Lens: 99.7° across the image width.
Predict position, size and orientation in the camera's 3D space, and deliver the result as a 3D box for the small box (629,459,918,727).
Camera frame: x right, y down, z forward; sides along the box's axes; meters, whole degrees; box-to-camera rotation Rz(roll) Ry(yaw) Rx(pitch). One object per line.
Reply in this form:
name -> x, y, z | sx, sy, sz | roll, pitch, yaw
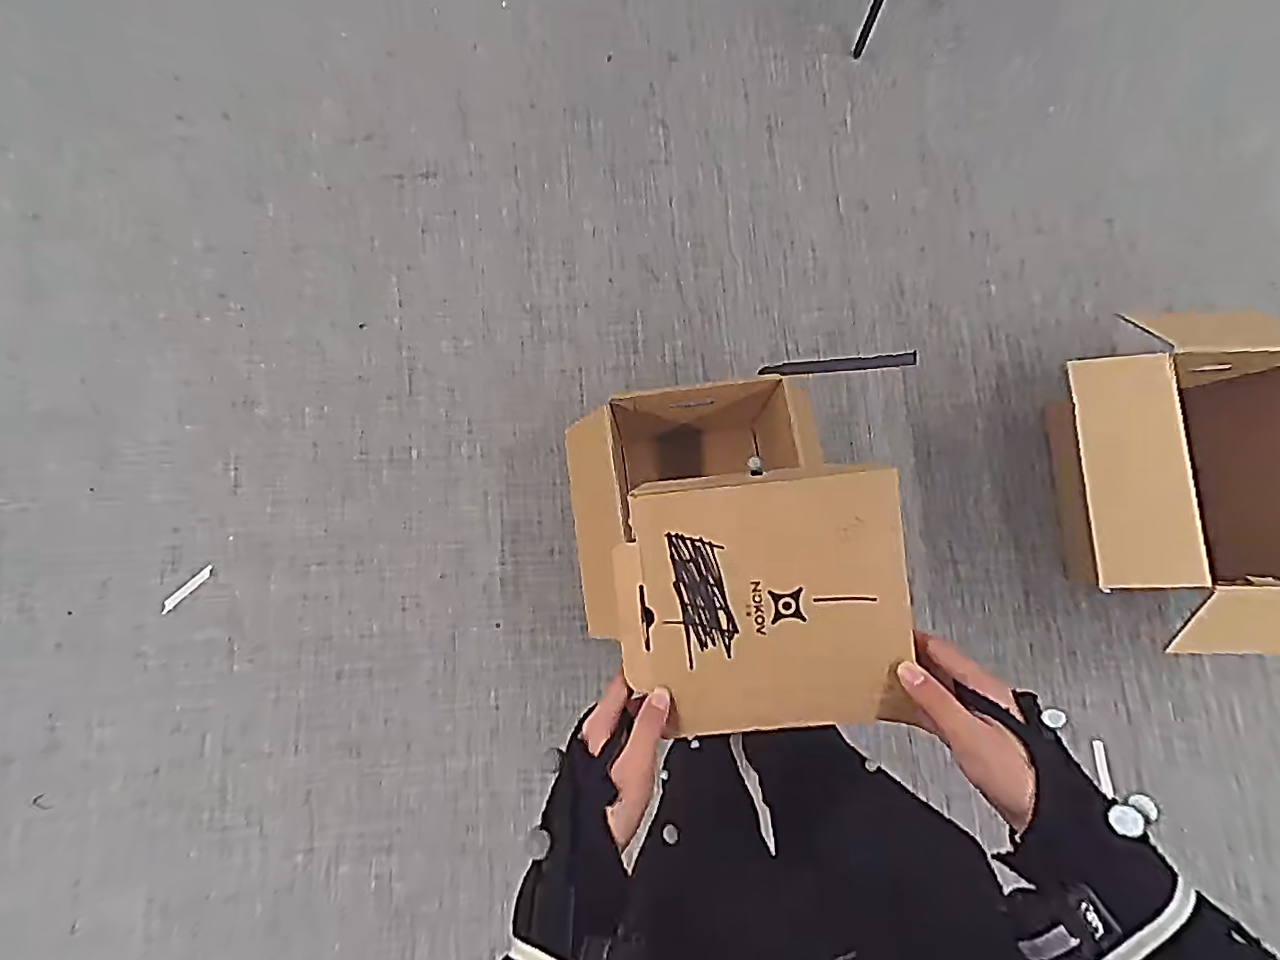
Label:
small box -> 0.092, 0.075, 0.433 | 0.179, 0.176, 0.168 | -6, 92, 3
